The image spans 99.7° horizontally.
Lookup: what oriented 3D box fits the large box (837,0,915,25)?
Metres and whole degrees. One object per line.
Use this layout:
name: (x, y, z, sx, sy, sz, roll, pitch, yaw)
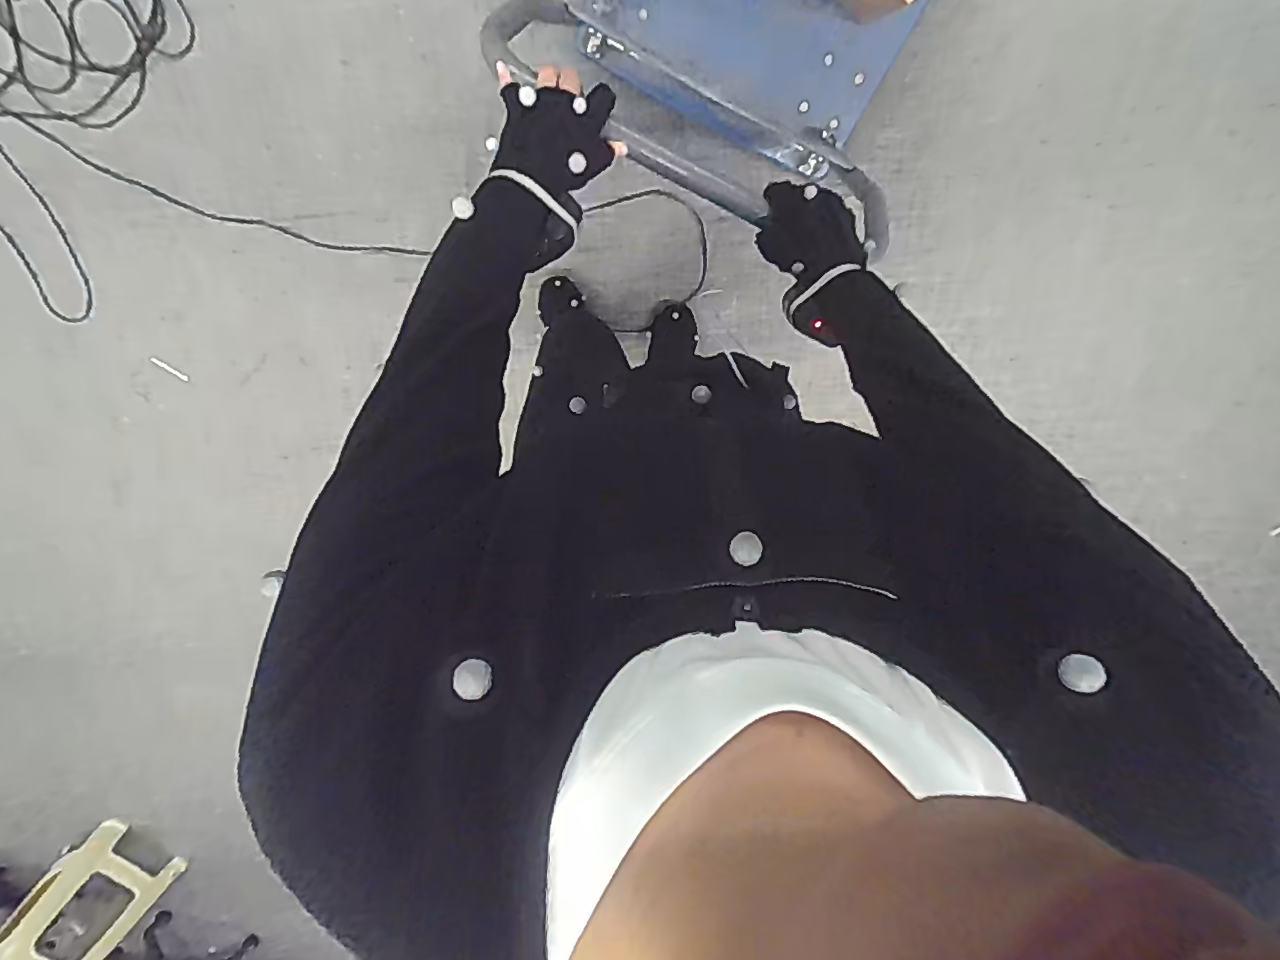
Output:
large box: (0.320, -0.939, 0.743, 0.408, 0.320, 0.320, 34, 123, -15)
